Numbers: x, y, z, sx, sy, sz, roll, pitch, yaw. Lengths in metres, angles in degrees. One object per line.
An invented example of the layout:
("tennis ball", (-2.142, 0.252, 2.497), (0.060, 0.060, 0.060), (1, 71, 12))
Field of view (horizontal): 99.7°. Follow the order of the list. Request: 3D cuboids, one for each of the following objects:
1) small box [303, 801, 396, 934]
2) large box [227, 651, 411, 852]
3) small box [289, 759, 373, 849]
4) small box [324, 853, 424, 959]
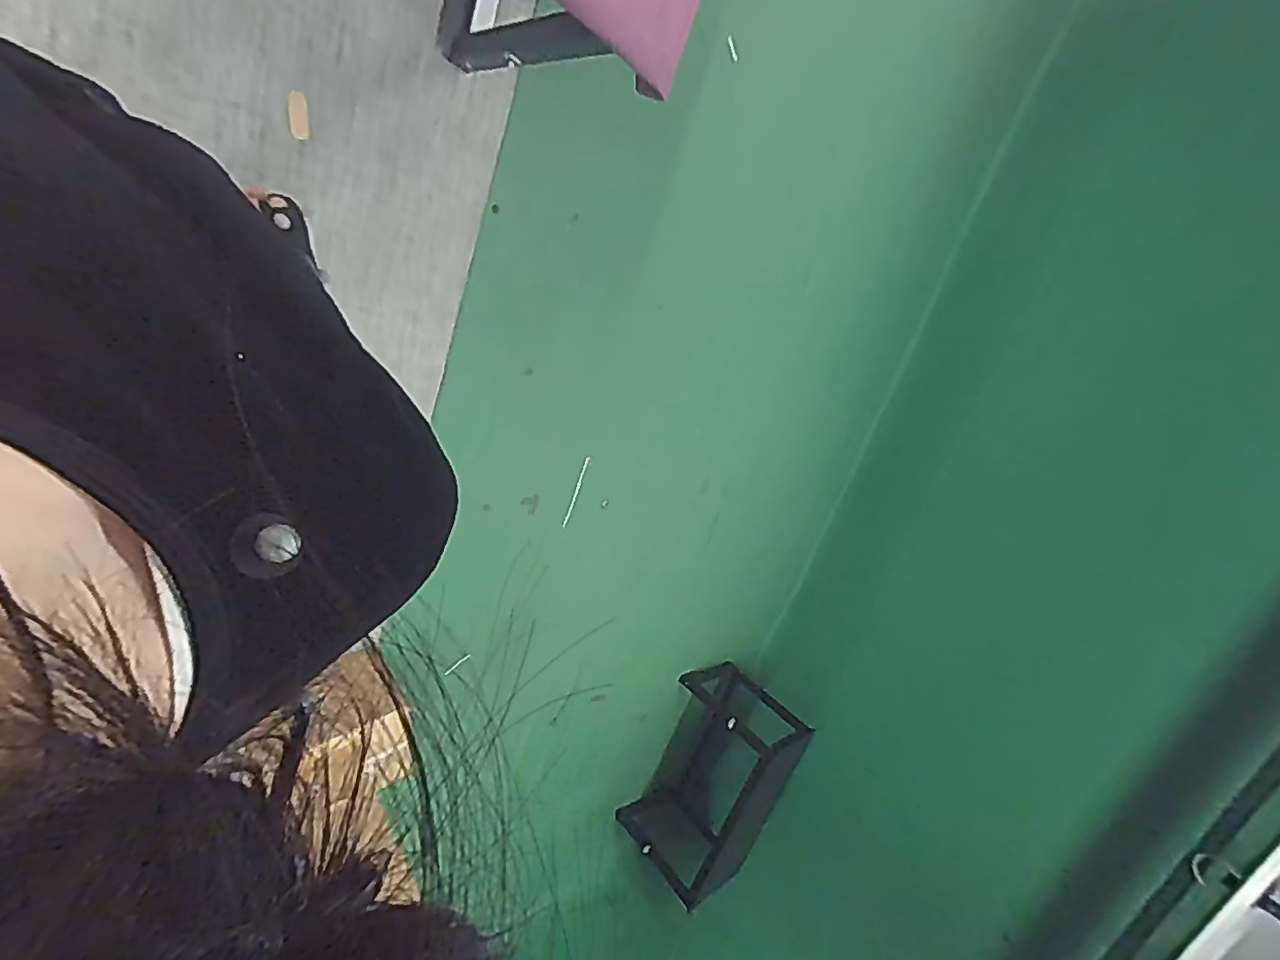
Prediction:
("small box", (-0.733, 0.967, 1.365), (0.179, 0.176, 0.168), (-14, 124, -40))
("large box", (-0.969, 0.802, 1.657), (0.408, 0.320, 0.320), (-15, 125, -42))
("small box", (-0.837, 0.898, 1.470), (0.168, 0.176, 0.179), (-13, 123, -41))
("small box", (-0.623, 1.036, 1.263), (0.179, 0.176, 0.168), (-12, 123, -40))
